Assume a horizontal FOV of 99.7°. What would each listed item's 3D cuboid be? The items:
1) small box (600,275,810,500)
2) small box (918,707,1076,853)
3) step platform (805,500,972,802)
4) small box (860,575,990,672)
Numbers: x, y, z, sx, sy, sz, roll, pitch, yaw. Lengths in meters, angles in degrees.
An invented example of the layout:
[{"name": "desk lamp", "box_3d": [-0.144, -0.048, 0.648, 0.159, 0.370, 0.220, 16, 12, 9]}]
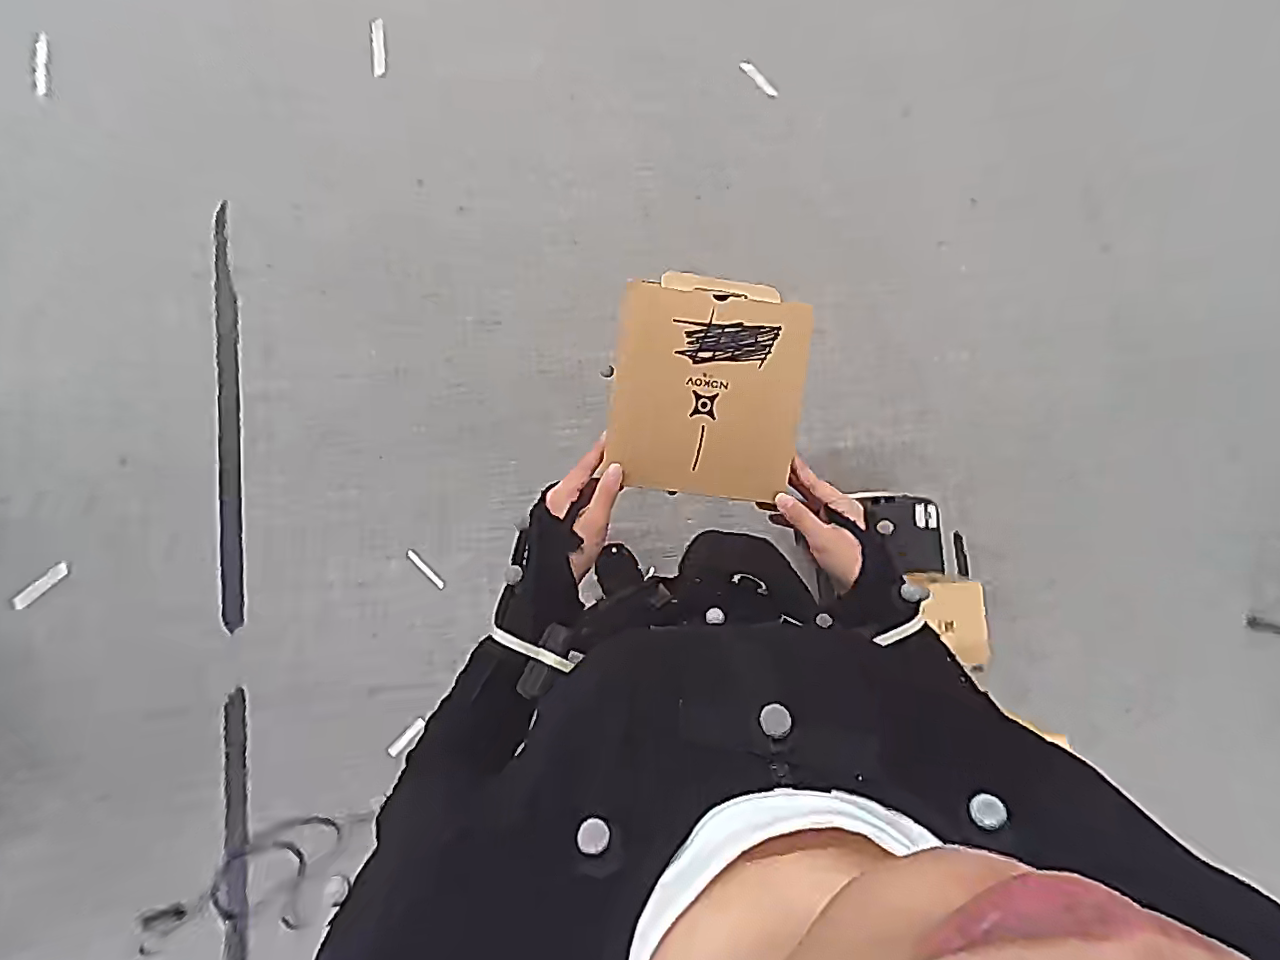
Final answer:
[{"name": "small box", "box_3d": [0.051, -0.084, 0.539, 0.168, 0.176, 0.179, 6, 96, -3]}, {"name": "small box", "box_3d": [0.619, 0.516, 0.959, 0.168, 0.176, 0.179, -1, 86, -5]}, {"name": "step platform", "box_3d": [0.600, 0.389, 1.305, 0.286, 0.204, 0.684, -4, 85, -6]}, {"name": "small box", "box_3d": [0.591, 0.294, 1.137, 0.179, 0.176, 0.168, -3, 85, -5]}]
